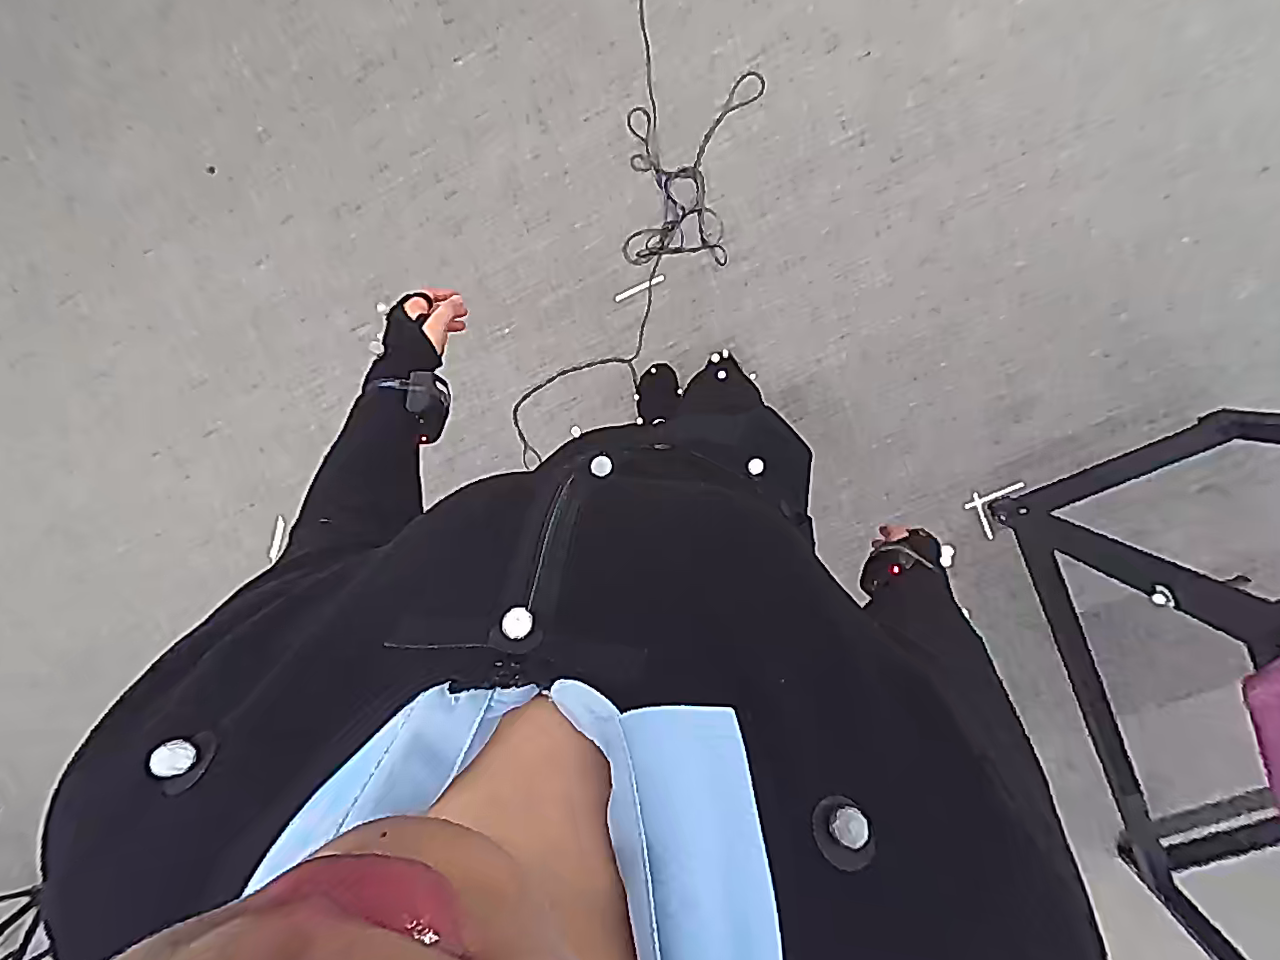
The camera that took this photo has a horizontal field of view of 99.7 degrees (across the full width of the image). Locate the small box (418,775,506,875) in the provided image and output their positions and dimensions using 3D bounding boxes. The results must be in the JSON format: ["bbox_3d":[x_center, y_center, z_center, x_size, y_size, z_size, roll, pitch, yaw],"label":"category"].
[{"bbox_3d":[-0.527,1.036,1.636,0.179,0.176,0.168,-25,98,9],"label":"small box"}]
